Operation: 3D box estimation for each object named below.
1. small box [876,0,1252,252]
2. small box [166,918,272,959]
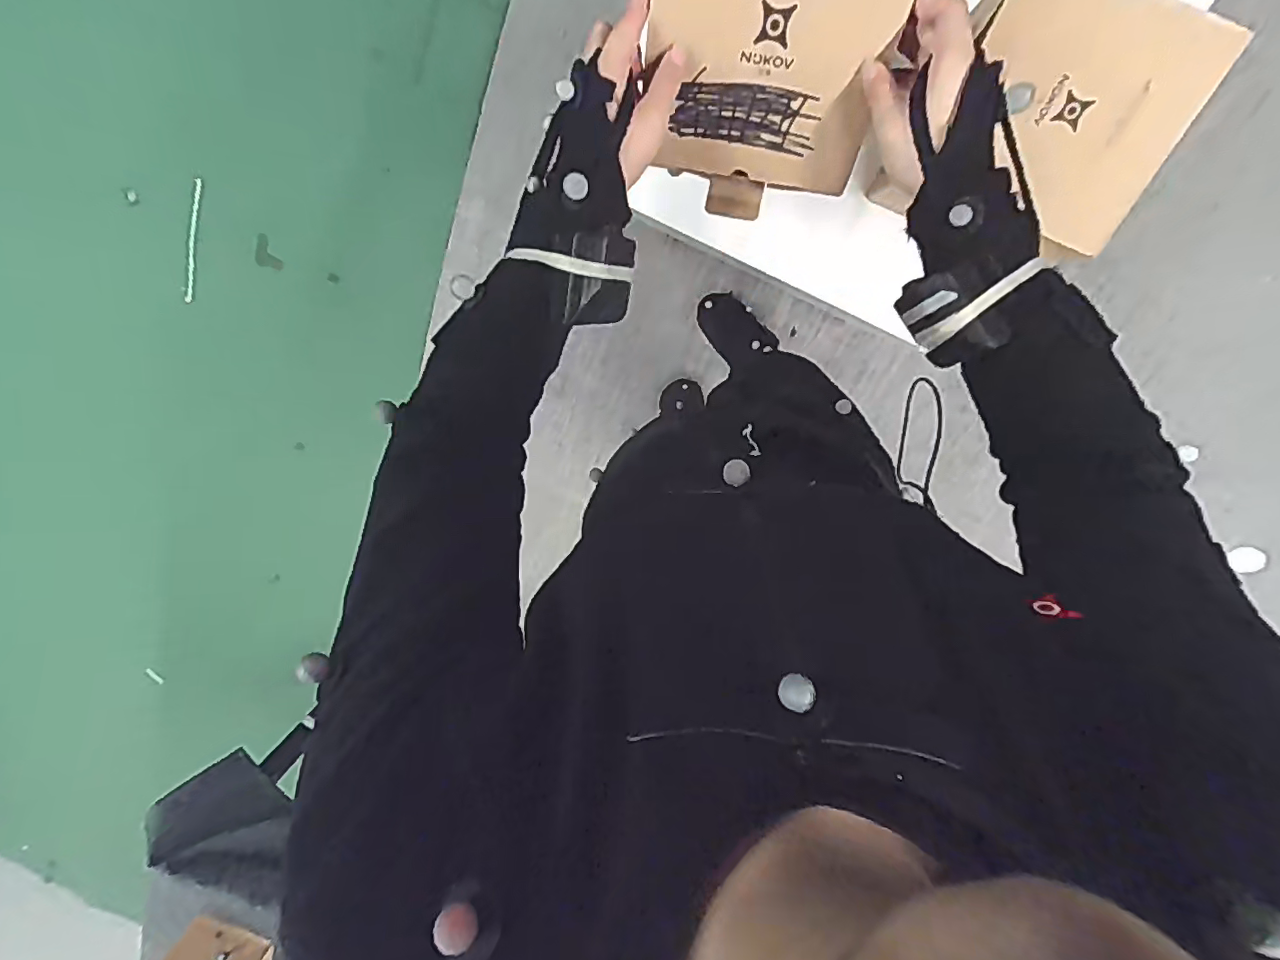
[{"bbox_3d":[0.348,-0.319,0.495,0.179,0.176,0.168,24,114,0],"label":"small box"},{"bbox_3d":[-0.868,1.029,1.071,0.168,0.176,0.179,20,112,2],"label":"small box"}]
